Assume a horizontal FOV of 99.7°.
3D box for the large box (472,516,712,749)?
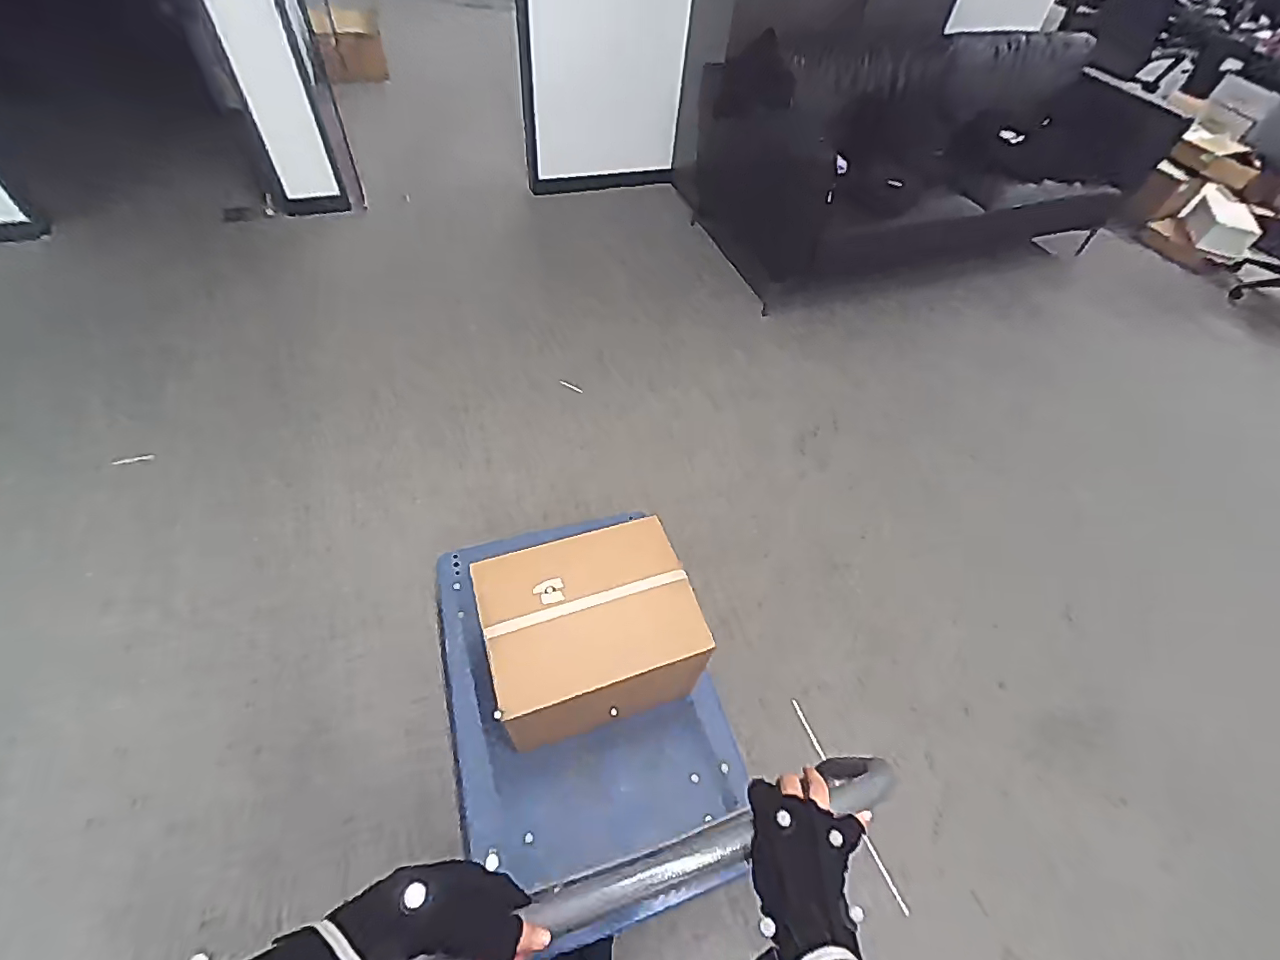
[{"bbox_3d":[-0.110,0.328,1.166,0.408,0.320,0.320,-14,56,-16],"label":"large box"}]
